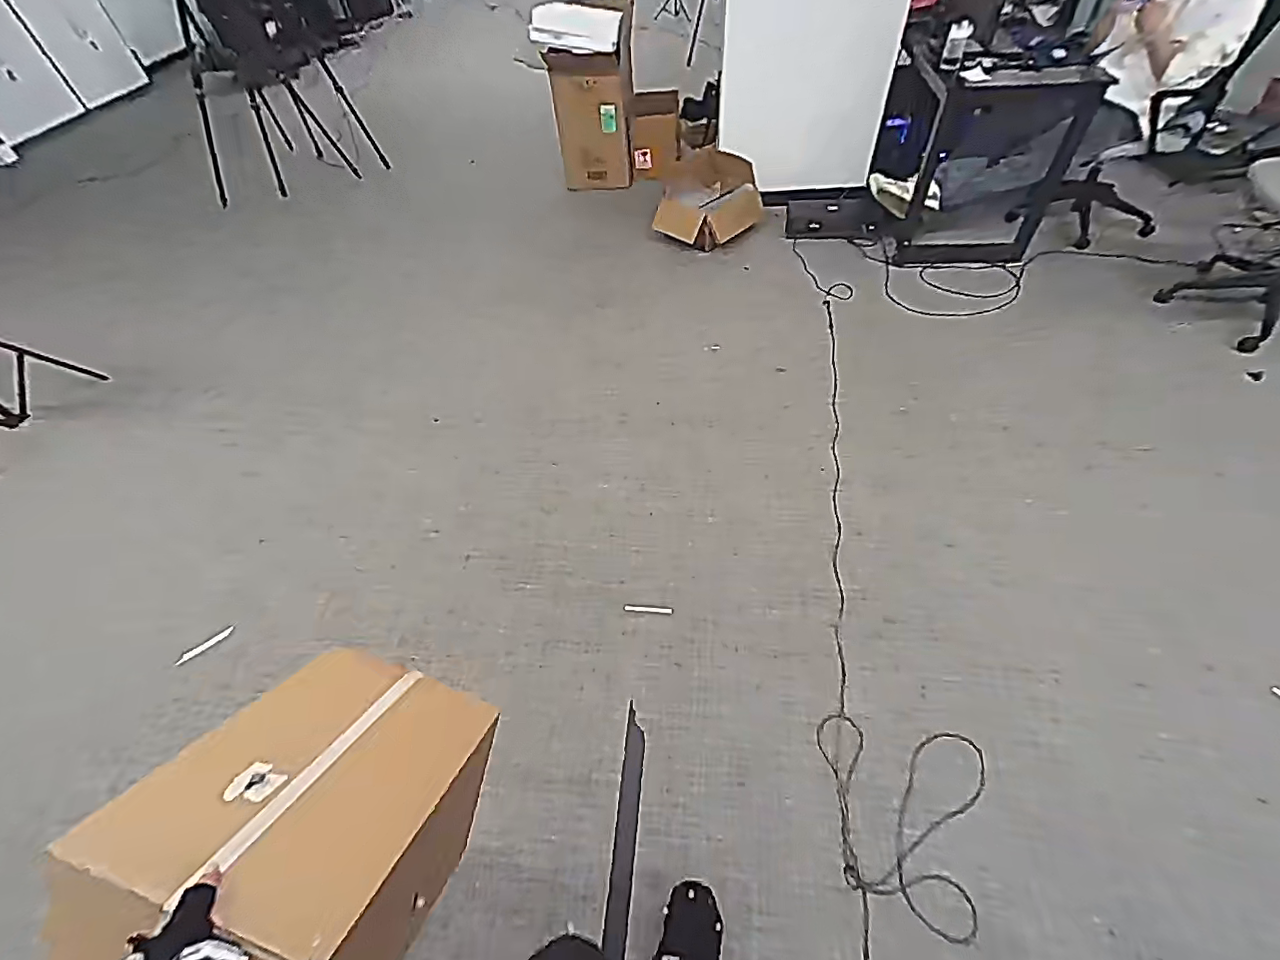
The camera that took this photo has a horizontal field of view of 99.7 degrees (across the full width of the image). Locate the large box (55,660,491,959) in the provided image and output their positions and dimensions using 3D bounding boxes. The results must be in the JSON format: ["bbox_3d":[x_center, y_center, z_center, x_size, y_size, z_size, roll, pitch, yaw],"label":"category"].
[{"bbox_3d":[-0.461,0.533,0.759,0.320,0.320,0.408,17,14,7],"label":"large box"}]
